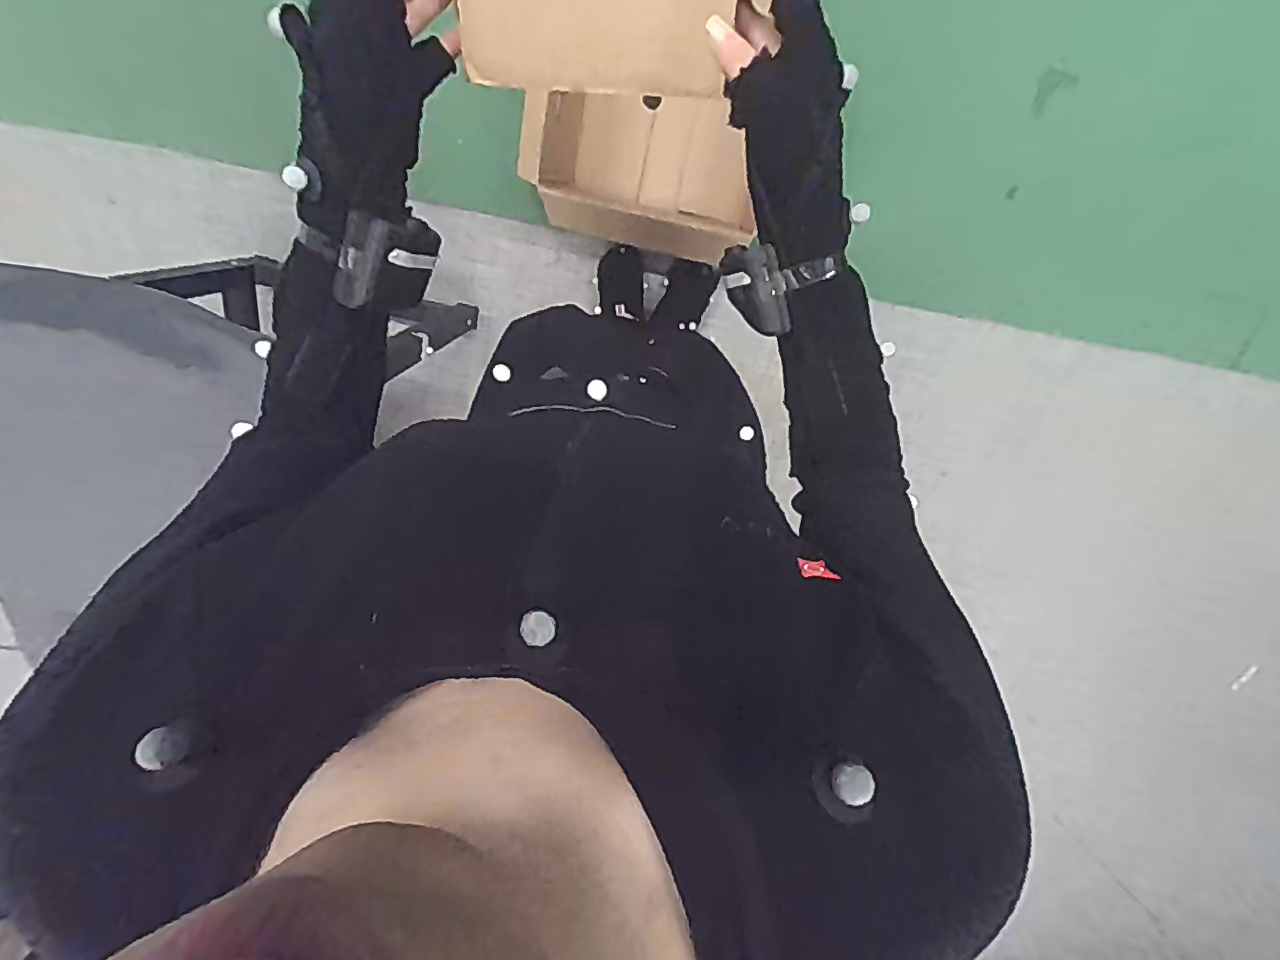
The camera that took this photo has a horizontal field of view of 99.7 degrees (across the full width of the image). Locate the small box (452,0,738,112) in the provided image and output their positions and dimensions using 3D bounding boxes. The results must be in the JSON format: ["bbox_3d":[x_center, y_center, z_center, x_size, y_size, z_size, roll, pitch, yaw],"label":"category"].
[{"bbox_3d":[-0.029,-0.370,0.360,0.179,0.176,0.168,1,137,-5],"label":"small box"}]
